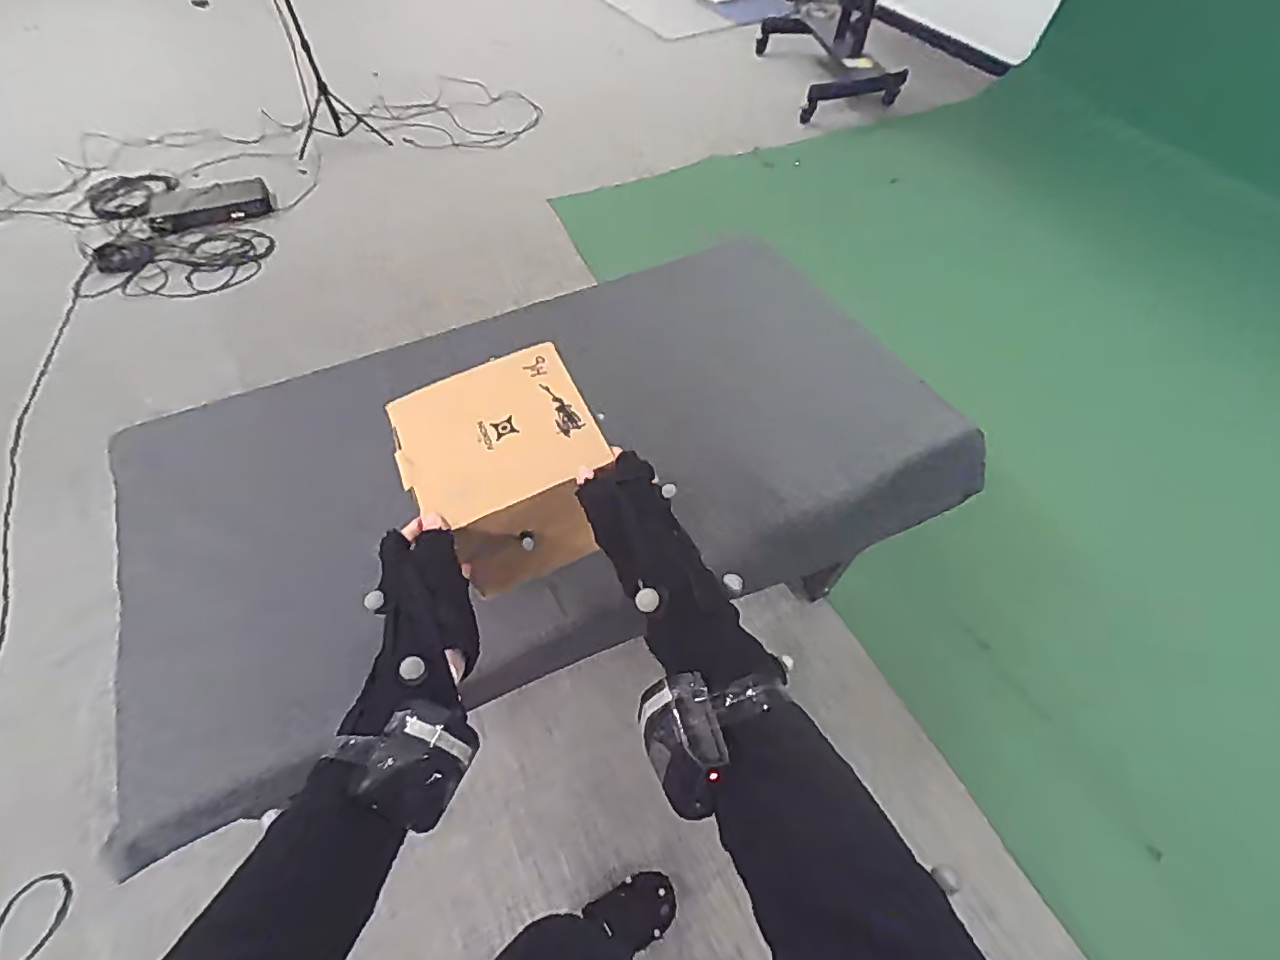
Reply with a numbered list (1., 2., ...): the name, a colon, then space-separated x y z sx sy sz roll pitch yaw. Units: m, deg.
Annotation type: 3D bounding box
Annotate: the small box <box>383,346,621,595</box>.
1. small box: -0.135 -0.002 0.573 0.179 0.176 0.168 -24 61 -9
